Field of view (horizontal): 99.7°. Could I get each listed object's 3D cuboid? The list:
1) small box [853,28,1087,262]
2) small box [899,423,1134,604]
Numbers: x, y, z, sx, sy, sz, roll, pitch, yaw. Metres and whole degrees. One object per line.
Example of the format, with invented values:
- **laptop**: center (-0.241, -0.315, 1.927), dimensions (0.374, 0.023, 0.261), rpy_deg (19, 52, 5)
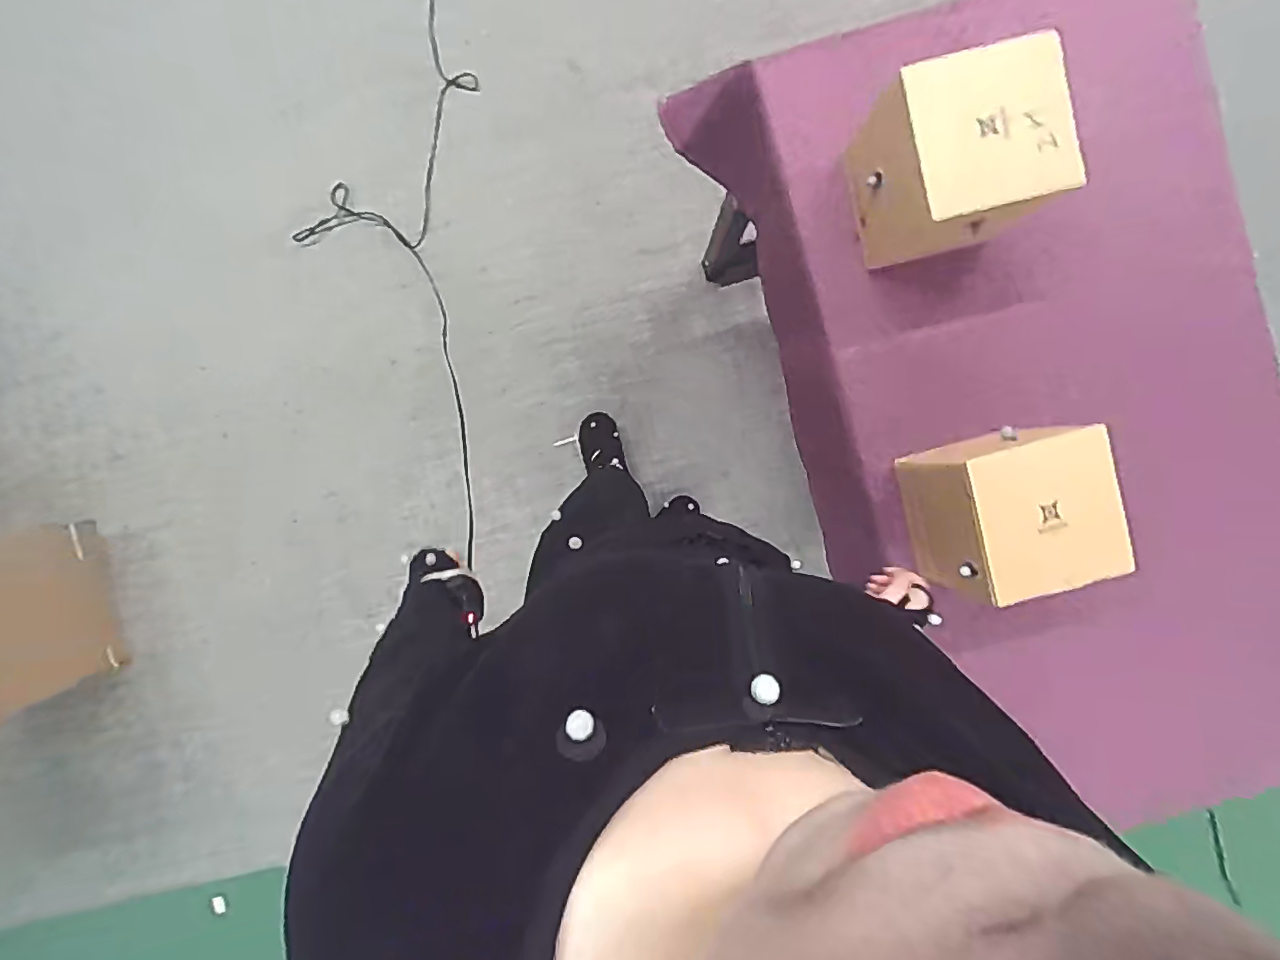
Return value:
- **small box**: center (0.377, -0.385, 0.655), dimensions (0.179, 0.176, 0.168), rpy_deg (-13, 94, 0)
- **small box**: center (0.458, 0.035, 0.686), dimensions (0.168, 0.176, 0.179), rpy_deg (-15, 94, 0)
